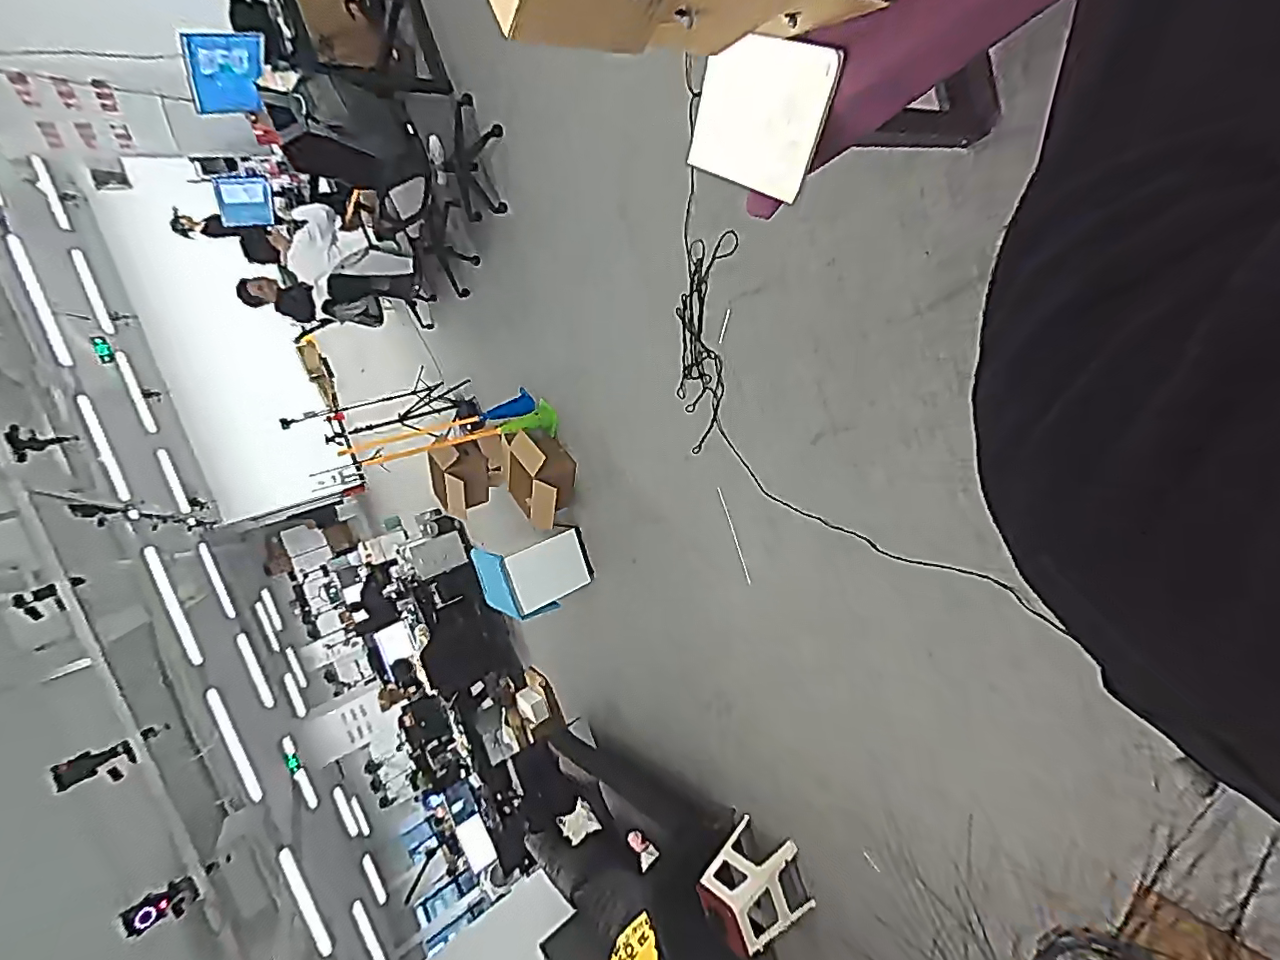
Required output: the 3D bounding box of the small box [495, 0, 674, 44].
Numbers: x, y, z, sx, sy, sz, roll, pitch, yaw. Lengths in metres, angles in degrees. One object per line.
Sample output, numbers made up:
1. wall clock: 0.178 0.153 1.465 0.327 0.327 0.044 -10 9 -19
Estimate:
1. small box: -0.053 -0.553 0.503 0.168 0.176 0.179 -23 90 59
